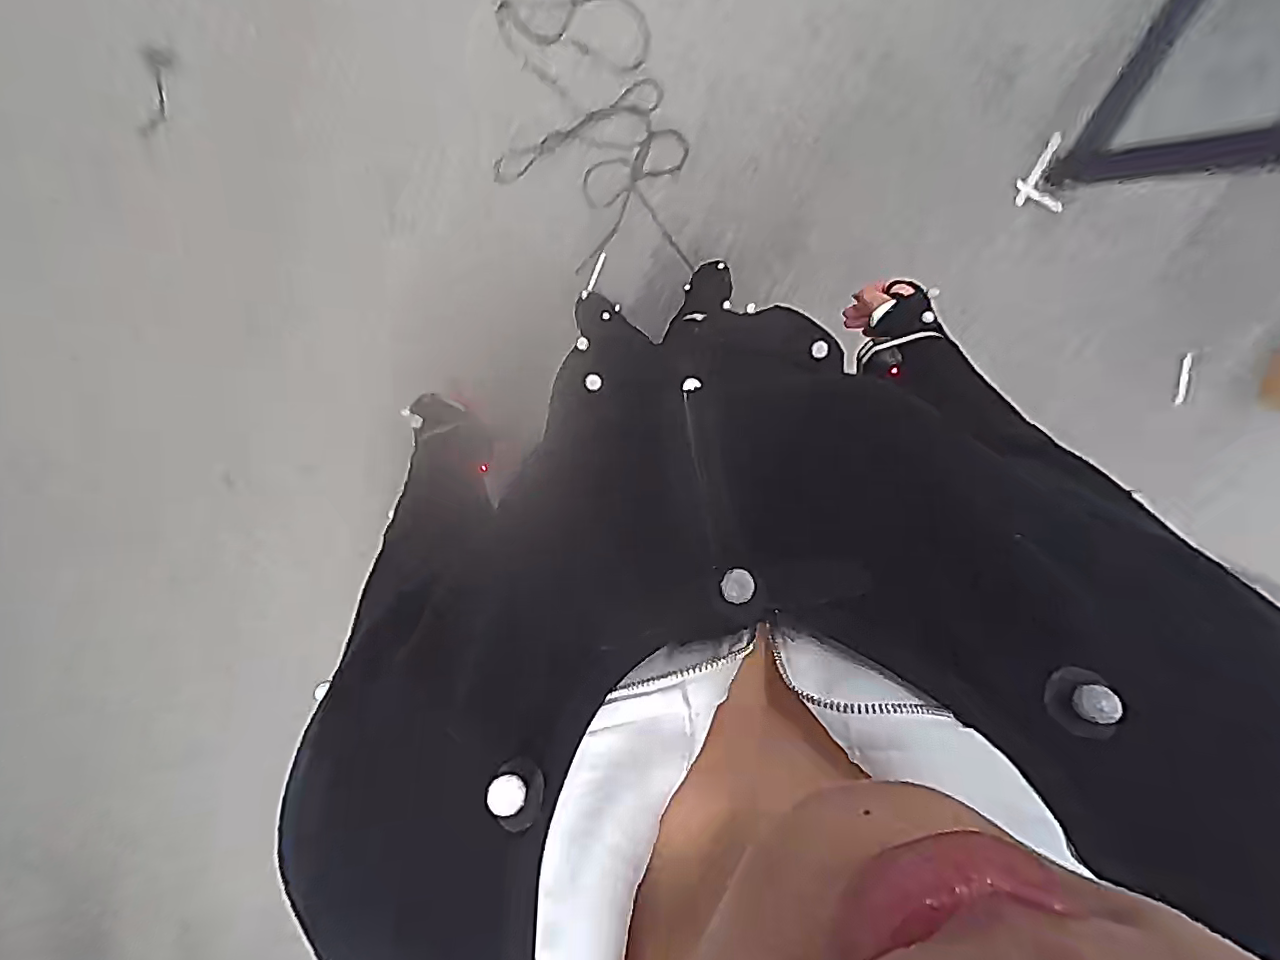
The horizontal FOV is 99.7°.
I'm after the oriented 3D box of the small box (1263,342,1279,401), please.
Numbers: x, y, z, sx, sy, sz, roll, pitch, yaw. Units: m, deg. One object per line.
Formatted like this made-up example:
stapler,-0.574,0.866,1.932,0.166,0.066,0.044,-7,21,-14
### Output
small box,1.801,-0.295,1.400,0.179,0.176,0.168,-22,113,9
